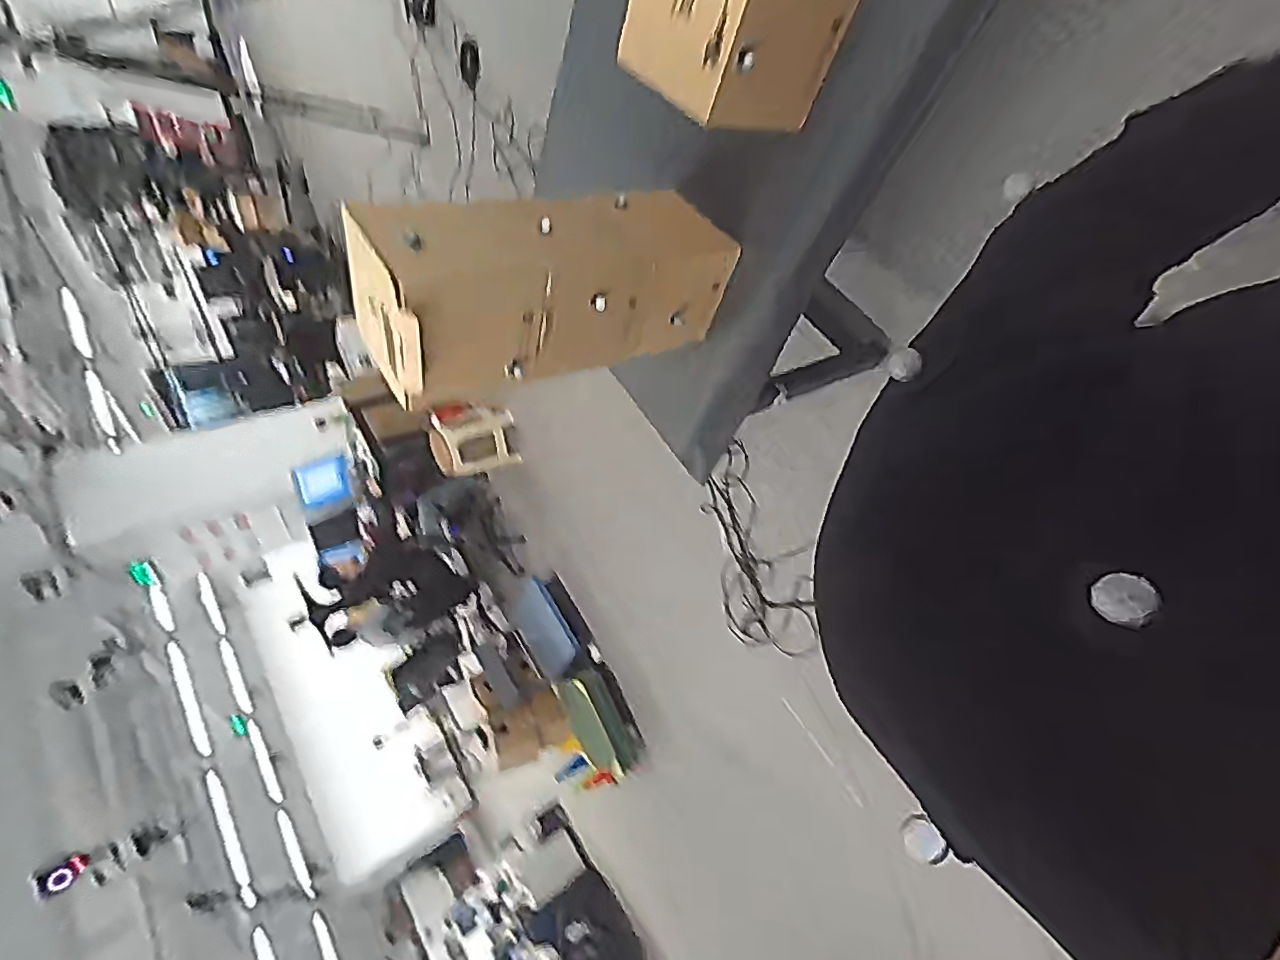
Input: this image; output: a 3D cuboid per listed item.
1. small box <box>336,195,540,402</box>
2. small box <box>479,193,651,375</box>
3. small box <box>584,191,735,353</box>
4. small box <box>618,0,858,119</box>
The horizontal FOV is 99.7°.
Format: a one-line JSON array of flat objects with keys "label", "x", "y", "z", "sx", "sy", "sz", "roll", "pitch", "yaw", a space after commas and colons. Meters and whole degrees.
[{"label": "small box", "x": -0.238, "y": -0.225, "z": 0.653, "sx": 0.179, "sy": 0.176, "sz": 0.168, "roll": 50, "pitch": 141, "yaw": 26}, {"label": "small box", "x": -0.110, "y": -0.274, "z": 0.744, "sx": 0.179, "sy": 0.176, "sz": 0.168, "roll": 52, "pitch": 142, "yaw": 25}, {"label": "small box", "x": 0.015, "y": -0.328, "z": 0.834, "sx": 0.179, "sy": 0.176, "sz": 0.168, "roll": 51, "pitch": 143, "yaw": 24}, {"label": "small box", "x": 0.107, "y": -0.523, "z": 0.593, "sx": 0.179, "sy": 0.176, "sz": 0.168, "roll": 53, "pitch": 143, "yaw": 23}]
